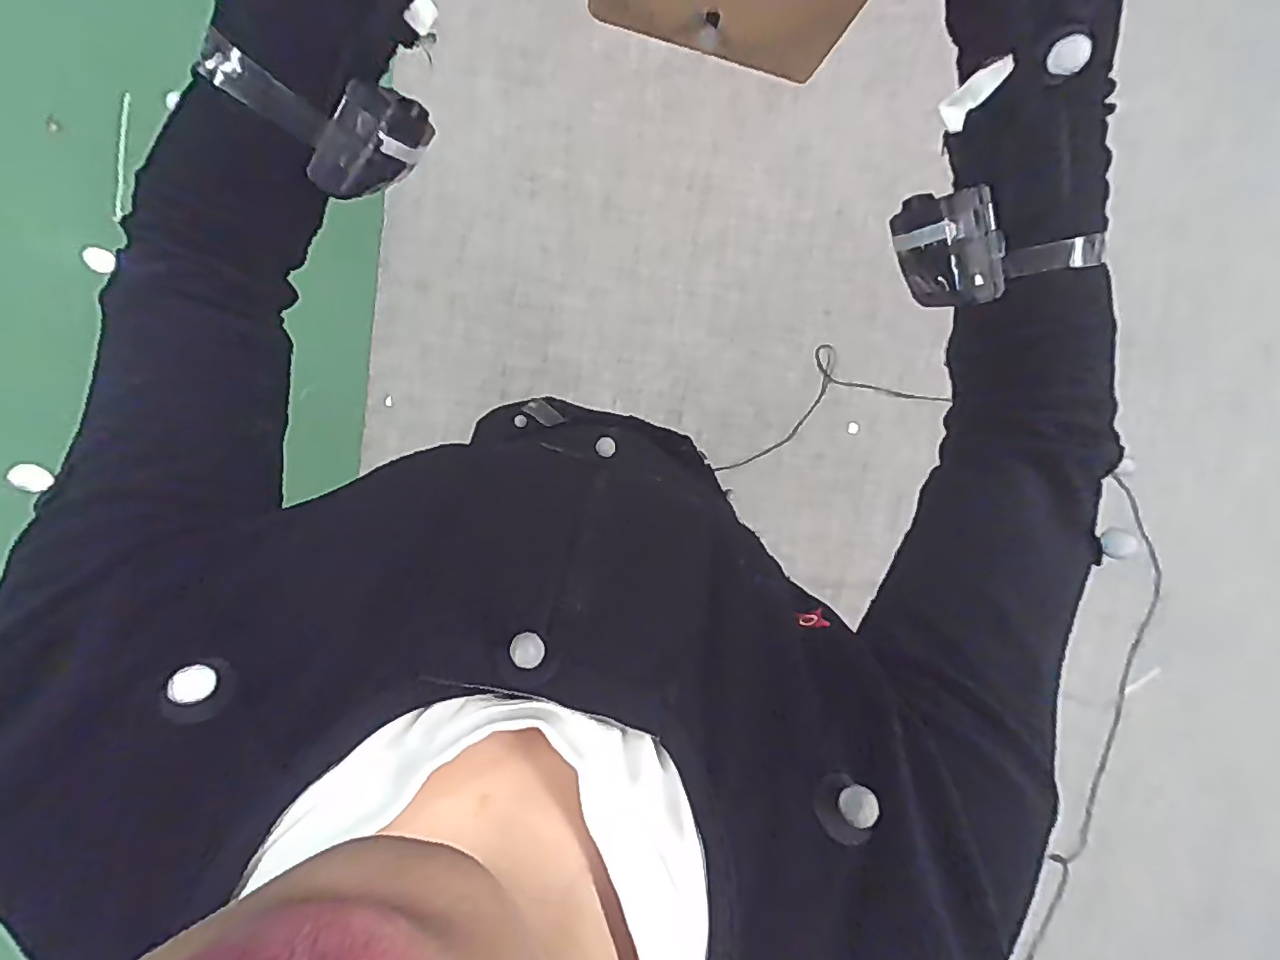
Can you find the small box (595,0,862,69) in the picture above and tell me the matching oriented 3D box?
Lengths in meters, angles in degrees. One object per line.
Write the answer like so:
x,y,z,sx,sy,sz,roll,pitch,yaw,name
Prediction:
0.073,-0.387,0.316,0.179,0.176,0.168,11,99,-7,small box
